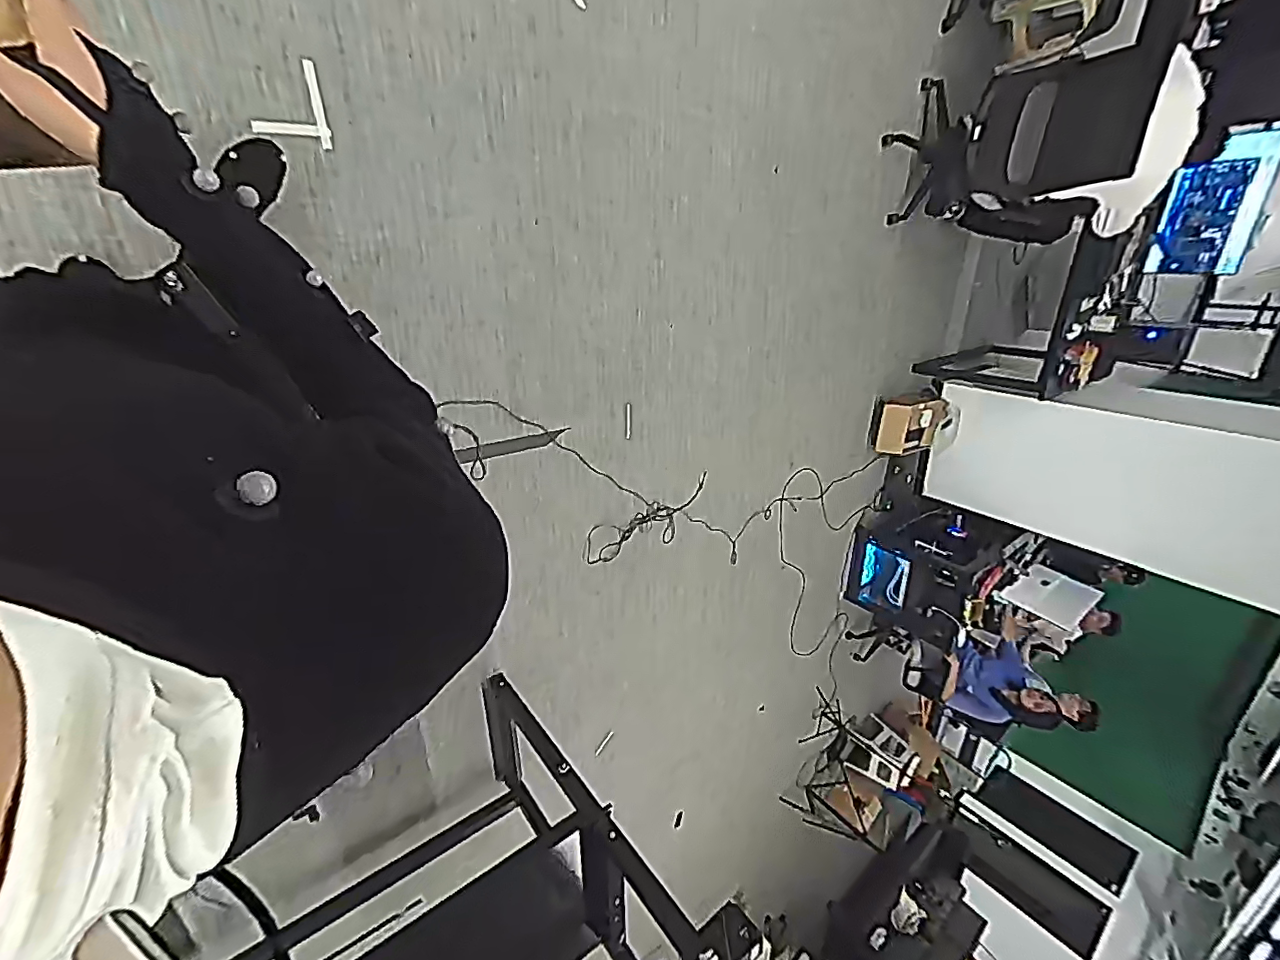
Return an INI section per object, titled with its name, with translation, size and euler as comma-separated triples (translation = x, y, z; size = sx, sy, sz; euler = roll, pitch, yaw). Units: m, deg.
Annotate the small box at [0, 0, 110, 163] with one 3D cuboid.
[small box]
translation = -0.527, -0.348, 0.372
size = 0.168, 0.176, 0.179
euler = -23, 104, -28
